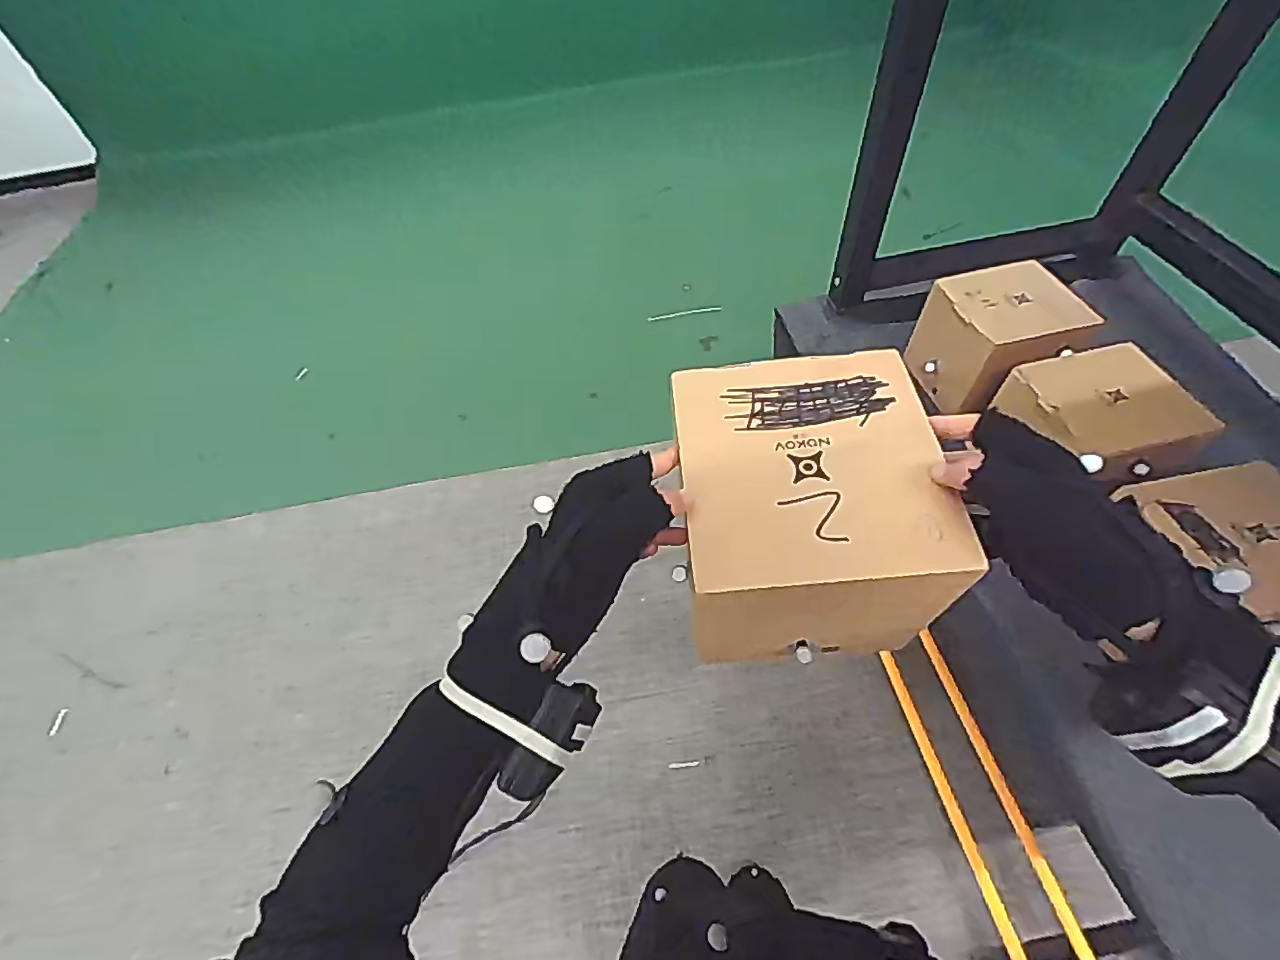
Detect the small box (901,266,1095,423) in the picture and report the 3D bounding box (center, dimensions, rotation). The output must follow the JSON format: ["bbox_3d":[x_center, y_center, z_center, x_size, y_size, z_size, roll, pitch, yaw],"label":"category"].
[{"bbox_3d":[0.570,-0.219,0.891,0.179,0.176,0.168,-12,54,-3],"label":"small box"}]
